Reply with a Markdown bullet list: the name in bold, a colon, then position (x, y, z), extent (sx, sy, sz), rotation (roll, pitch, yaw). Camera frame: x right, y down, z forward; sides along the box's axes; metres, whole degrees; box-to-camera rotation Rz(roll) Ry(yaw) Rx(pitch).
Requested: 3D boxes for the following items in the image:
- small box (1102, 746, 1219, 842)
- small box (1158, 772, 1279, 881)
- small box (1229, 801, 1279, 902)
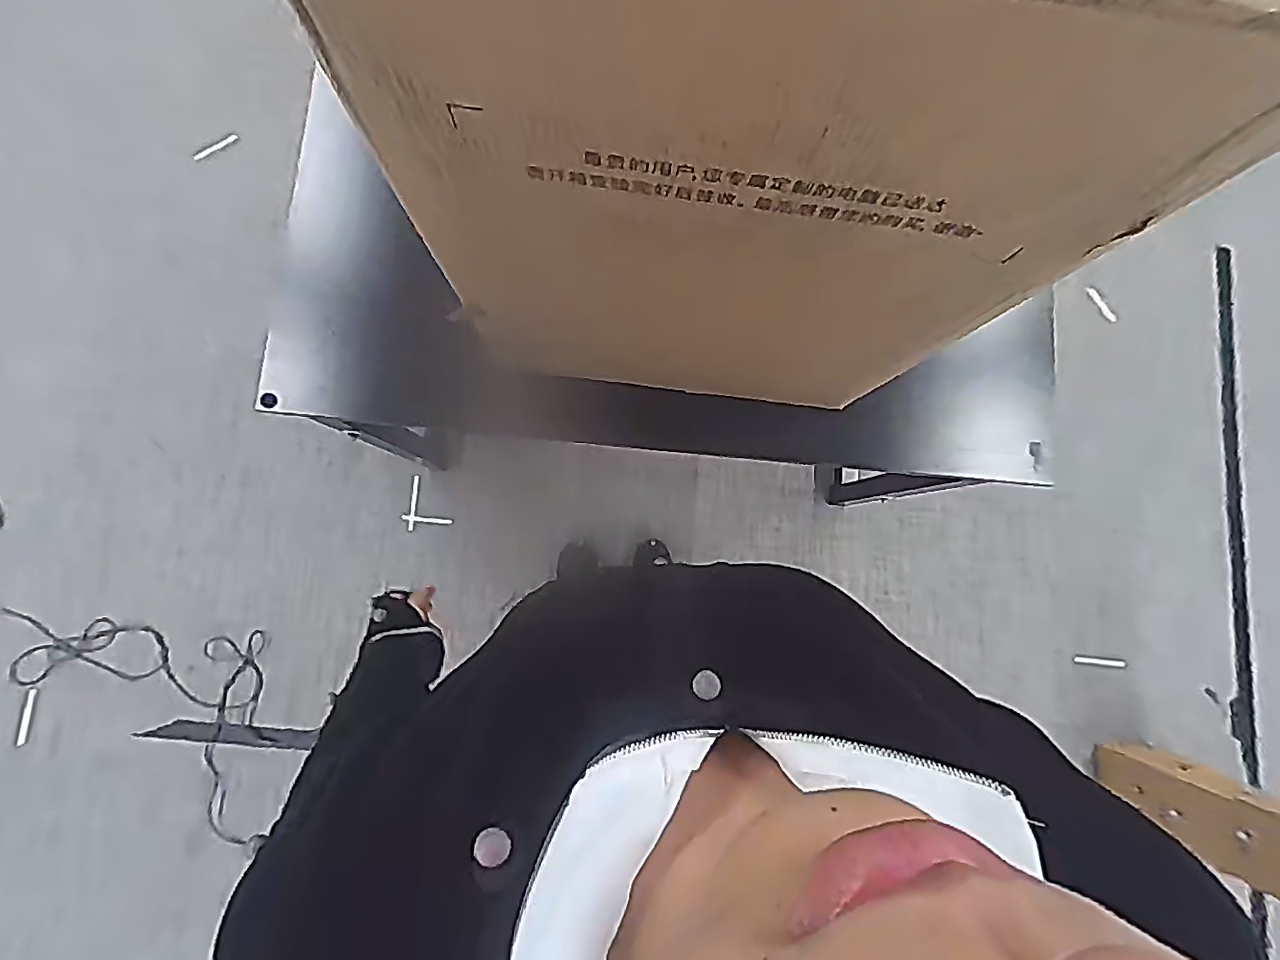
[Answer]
- **small box**: position (1.373, 0.823, 1.432), extent (0.168, 0.176, 0.179), rotation (2, 84, -3)
- **small box**: position (1.382, 0.809, 1.268), extent (0.179, 0.176, 0.168), rotation (6, 83, -2)
- **small box**: position (1.385, 0.789, 1.107), extent (0.179, 0.176, 0.168), rotation (11, 82, -1)
